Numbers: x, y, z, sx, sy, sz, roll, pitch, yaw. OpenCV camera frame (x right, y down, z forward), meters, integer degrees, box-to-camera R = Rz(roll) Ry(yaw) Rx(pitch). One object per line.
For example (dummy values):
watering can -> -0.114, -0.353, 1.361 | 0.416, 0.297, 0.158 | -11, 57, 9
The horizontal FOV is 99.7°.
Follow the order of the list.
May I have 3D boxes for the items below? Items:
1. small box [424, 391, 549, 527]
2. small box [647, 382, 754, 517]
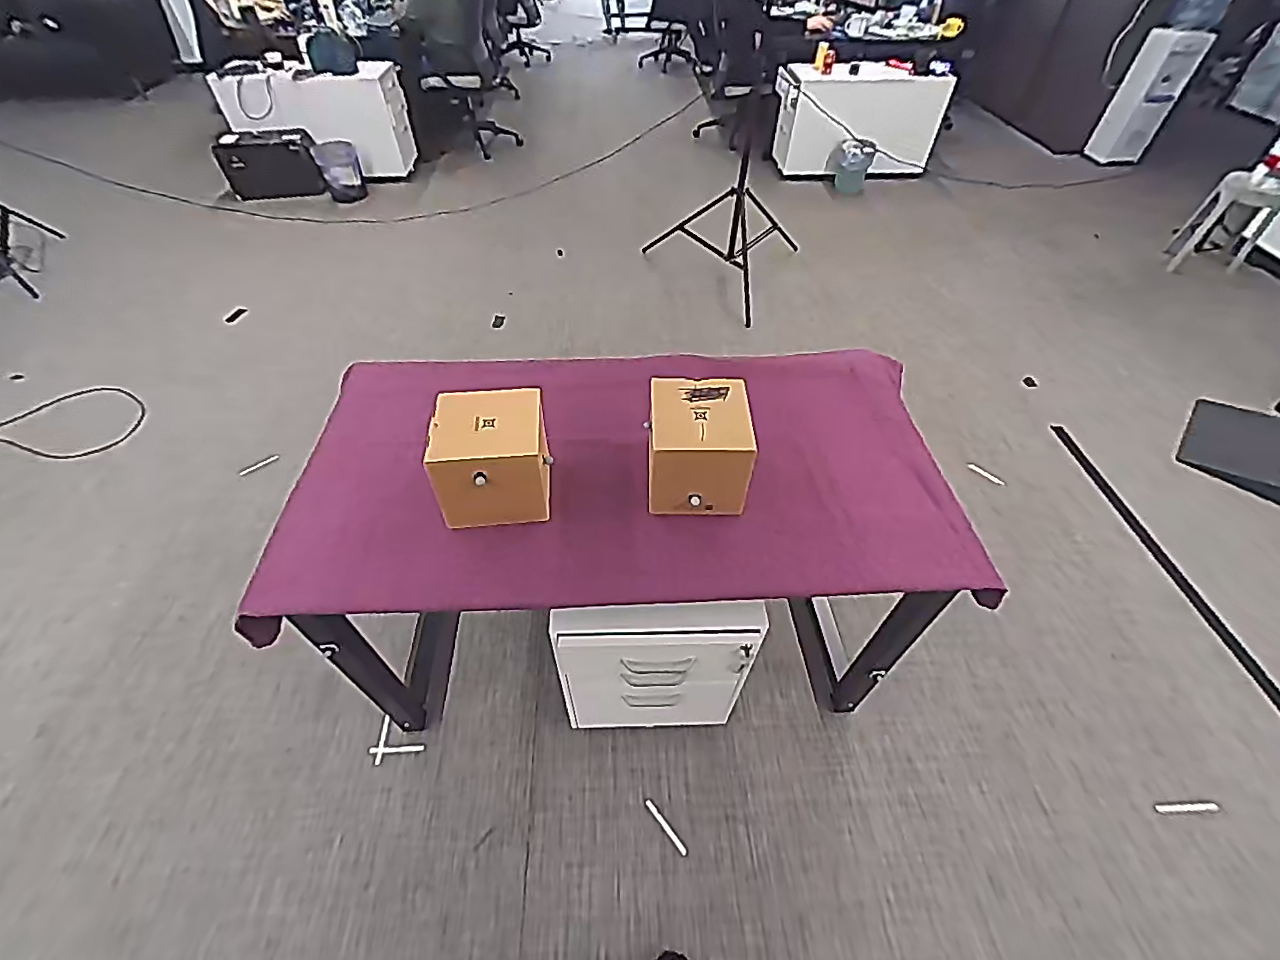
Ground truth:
small box -> -0.252, -0.035, 0.940 | 0.179, 0.176, 0.168 | -5, 48, -4
small box -> 0.098, -0.055, 0.963 | 0.168, 0.176, 0.179 | 0, 49, 0
